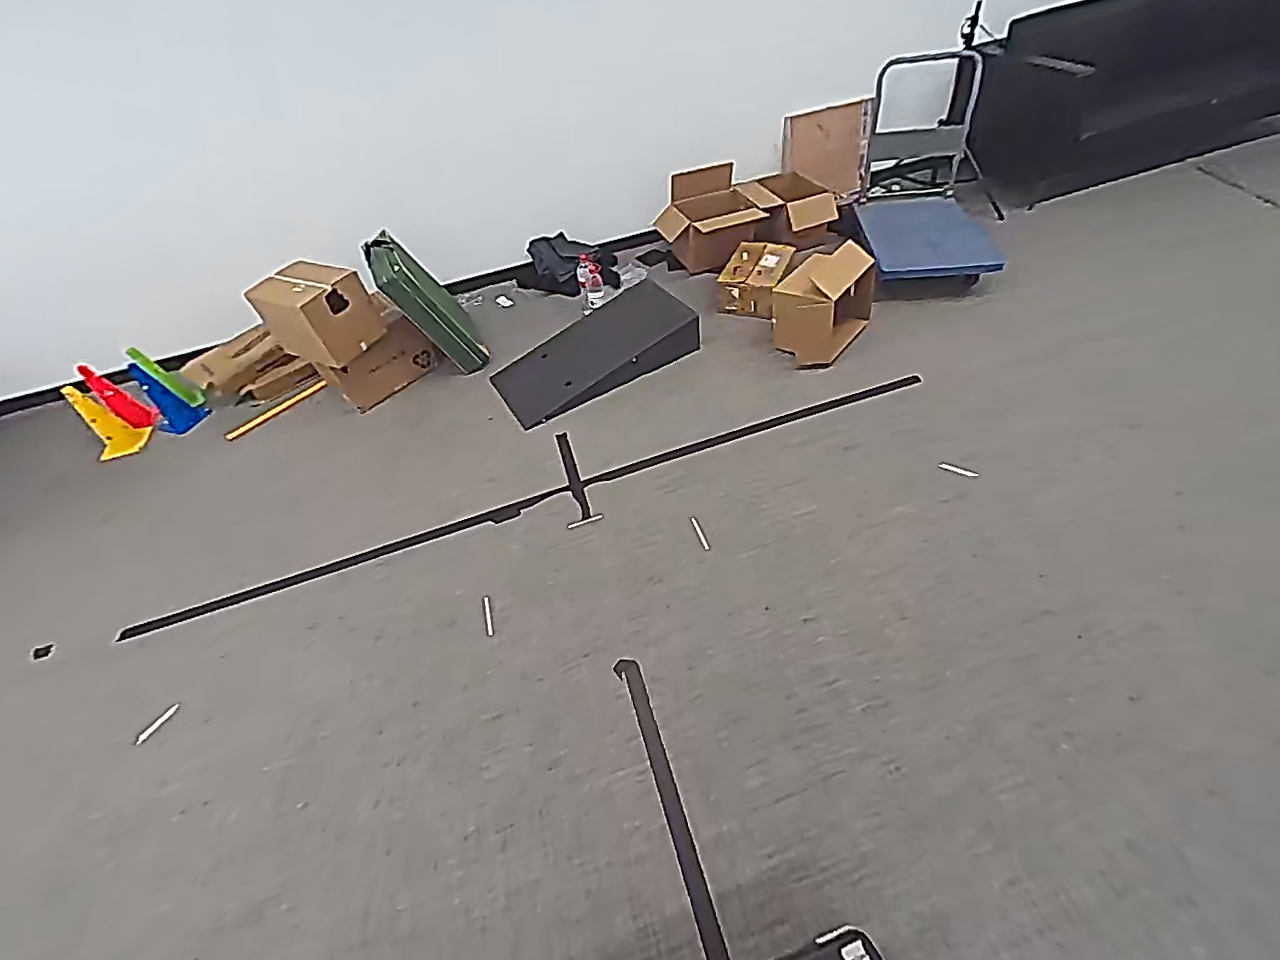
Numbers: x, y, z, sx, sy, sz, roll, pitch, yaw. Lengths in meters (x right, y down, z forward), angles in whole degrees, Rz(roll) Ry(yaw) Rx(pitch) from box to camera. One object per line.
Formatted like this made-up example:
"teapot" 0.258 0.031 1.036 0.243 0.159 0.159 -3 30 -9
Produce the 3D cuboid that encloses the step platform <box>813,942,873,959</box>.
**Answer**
"step platform" 0.197 1.163 1.004 0.684 0.204 0.286 -18 49 -8
